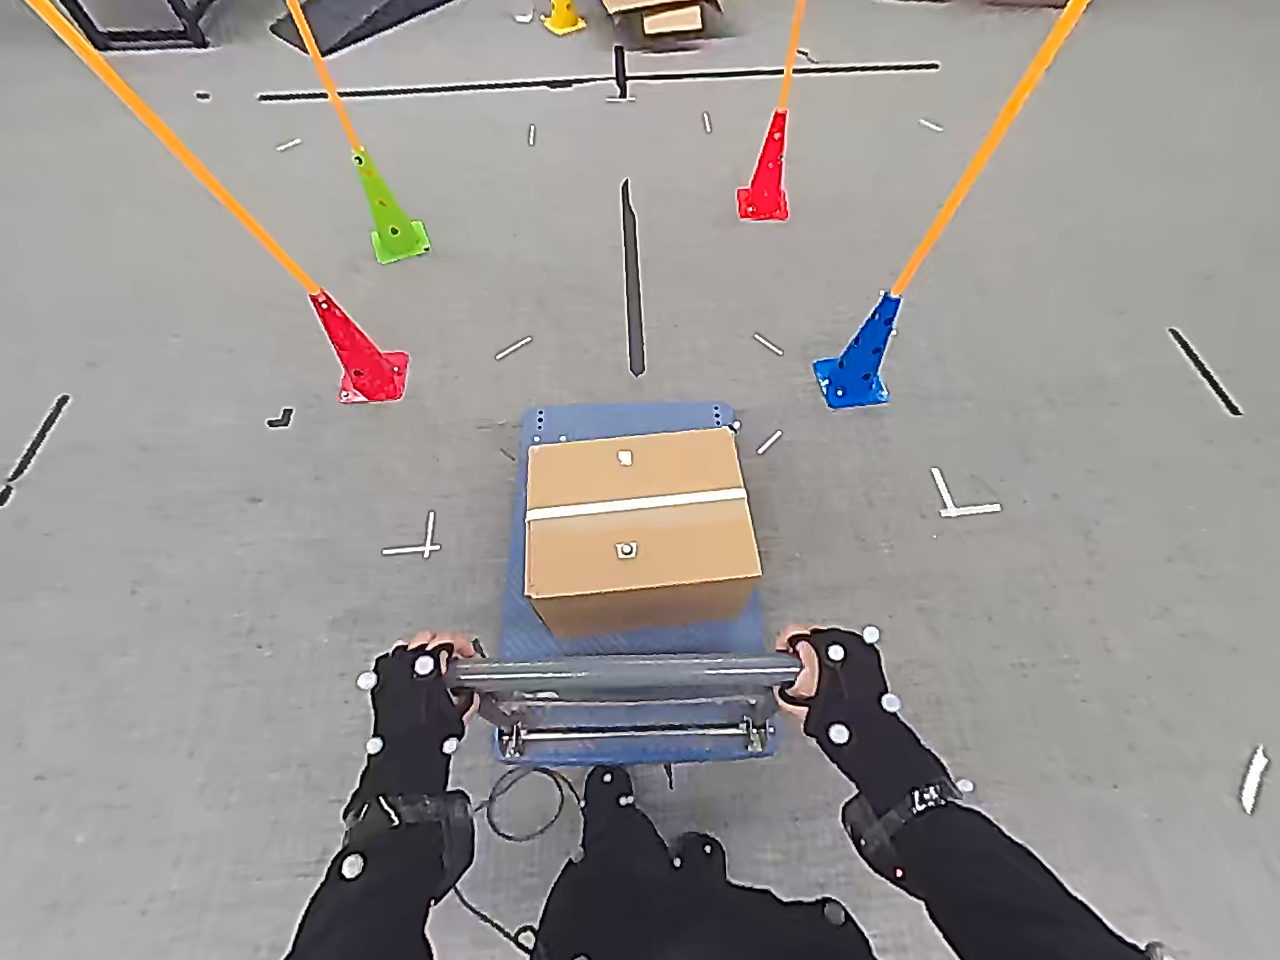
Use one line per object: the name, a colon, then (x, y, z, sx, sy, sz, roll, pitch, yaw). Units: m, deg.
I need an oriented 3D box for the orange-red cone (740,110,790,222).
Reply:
orange-red cone: (0.501, -1.190, 2.029, 0.199, 0.360, 0.198, 3, 62, 1)

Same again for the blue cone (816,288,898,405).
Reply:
blue cone: (0.680, -0.403, 1.607, 0.193, 0.380, 0.192, -7, 60, -3)
